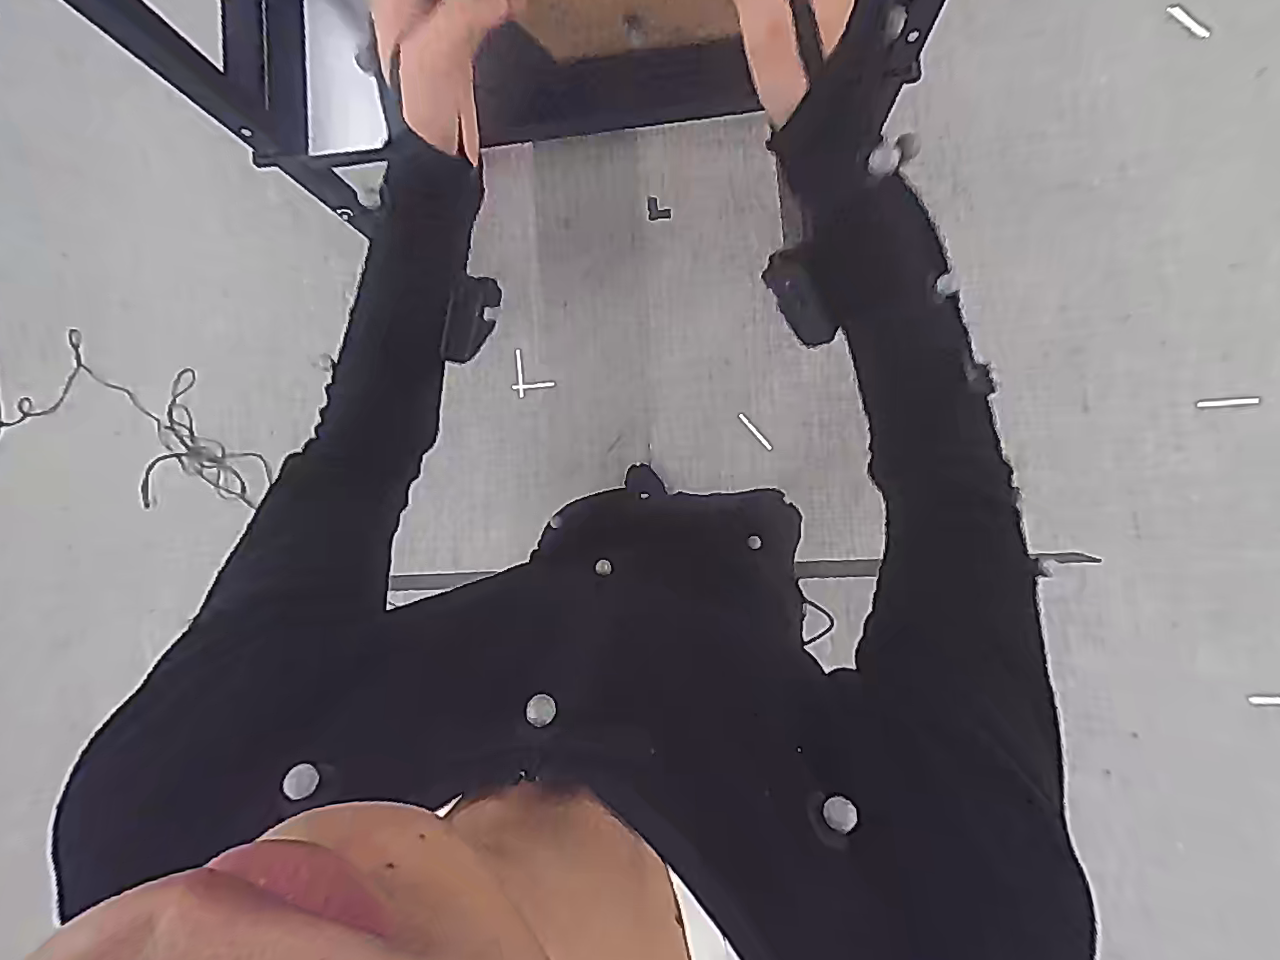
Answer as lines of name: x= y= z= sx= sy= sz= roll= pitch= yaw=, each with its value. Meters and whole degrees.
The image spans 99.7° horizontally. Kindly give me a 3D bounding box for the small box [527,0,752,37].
small box: x=-0.014 y=-0.396 z=0.308 sx=0.168 sy=0.176 sz=0.179 roll=3 pitch=115 yaw=14
